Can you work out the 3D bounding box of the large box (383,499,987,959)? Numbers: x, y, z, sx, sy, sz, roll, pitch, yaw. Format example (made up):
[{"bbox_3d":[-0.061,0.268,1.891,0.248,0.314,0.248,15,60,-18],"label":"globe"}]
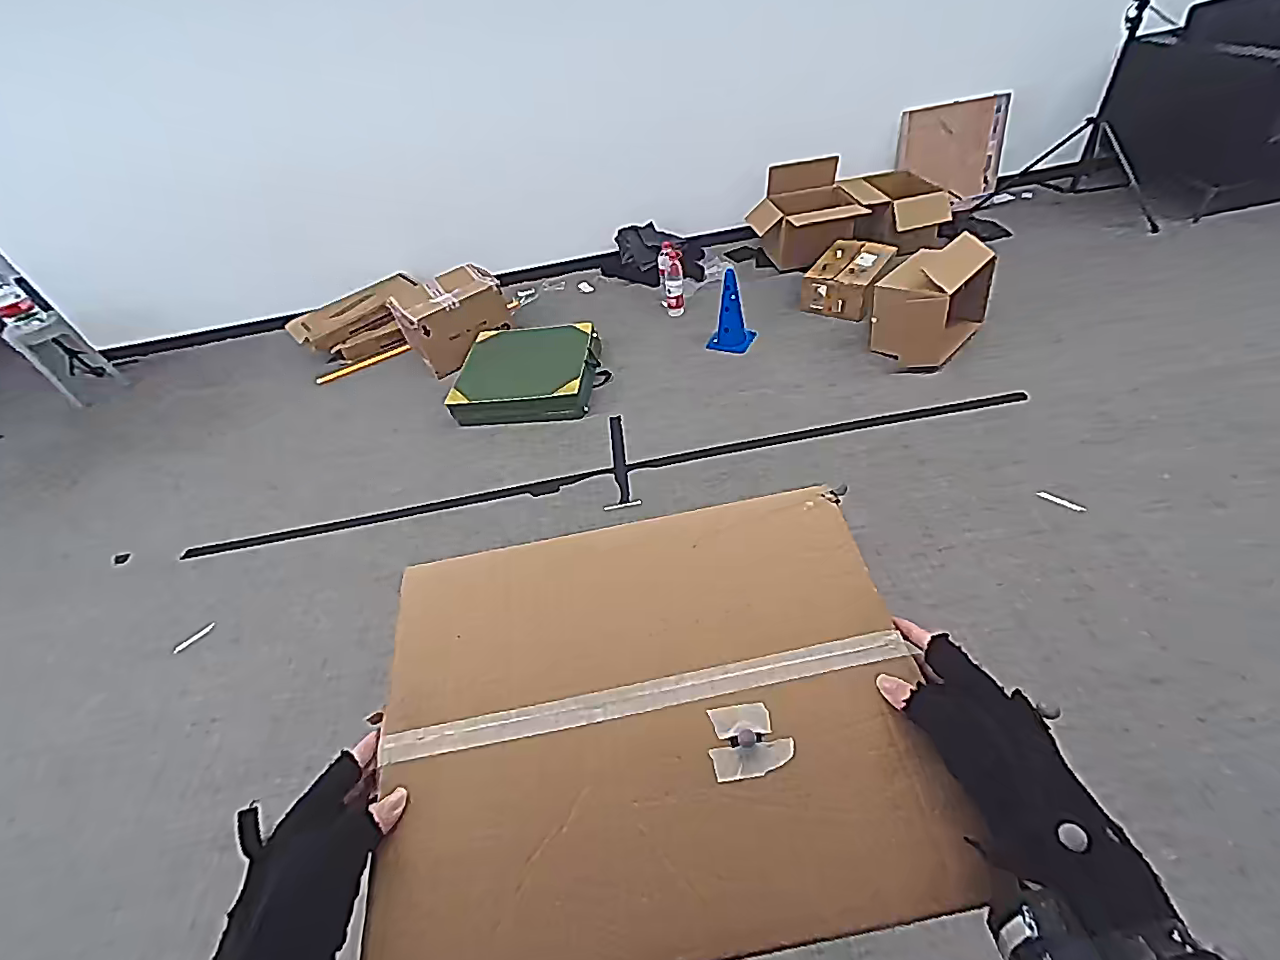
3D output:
[{"bbox_3d":[0.020,0.265,0.547,0.408,0.320,0.320,-11,53,-1],"label":"large box"}]
